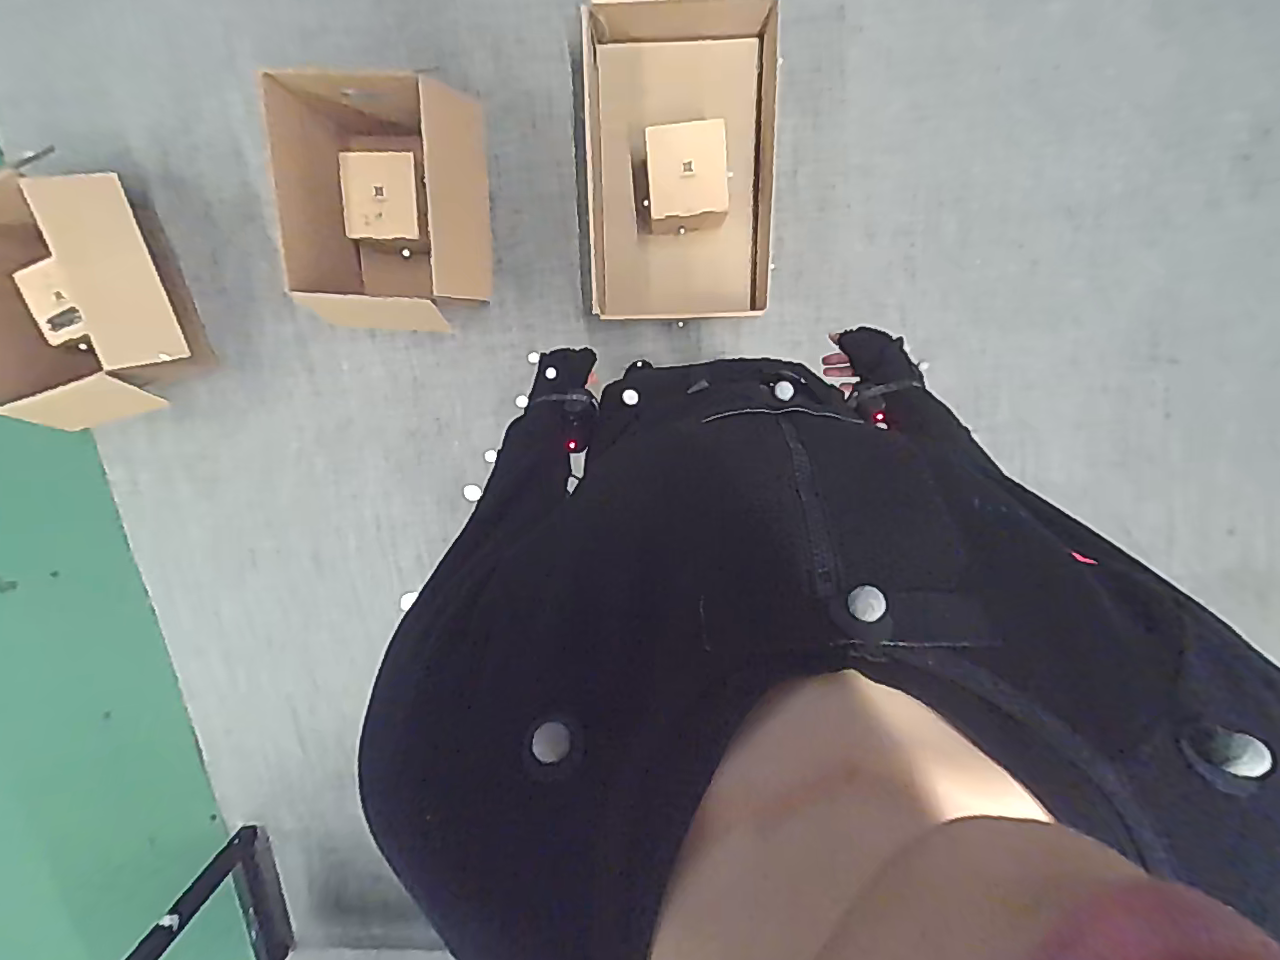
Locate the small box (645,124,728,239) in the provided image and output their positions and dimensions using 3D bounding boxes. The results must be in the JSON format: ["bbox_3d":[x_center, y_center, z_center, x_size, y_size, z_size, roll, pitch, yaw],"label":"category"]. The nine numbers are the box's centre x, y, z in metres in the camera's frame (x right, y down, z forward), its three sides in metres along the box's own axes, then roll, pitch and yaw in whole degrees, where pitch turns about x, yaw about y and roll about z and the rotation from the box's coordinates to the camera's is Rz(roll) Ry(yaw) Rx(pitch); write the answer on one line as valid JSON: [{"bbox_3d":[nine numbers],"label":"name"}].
[{"bbox_3d":[0.098,-0.650,1.197,0.168,0.176,0.179,-5,103,3],"label":"small box"}]
